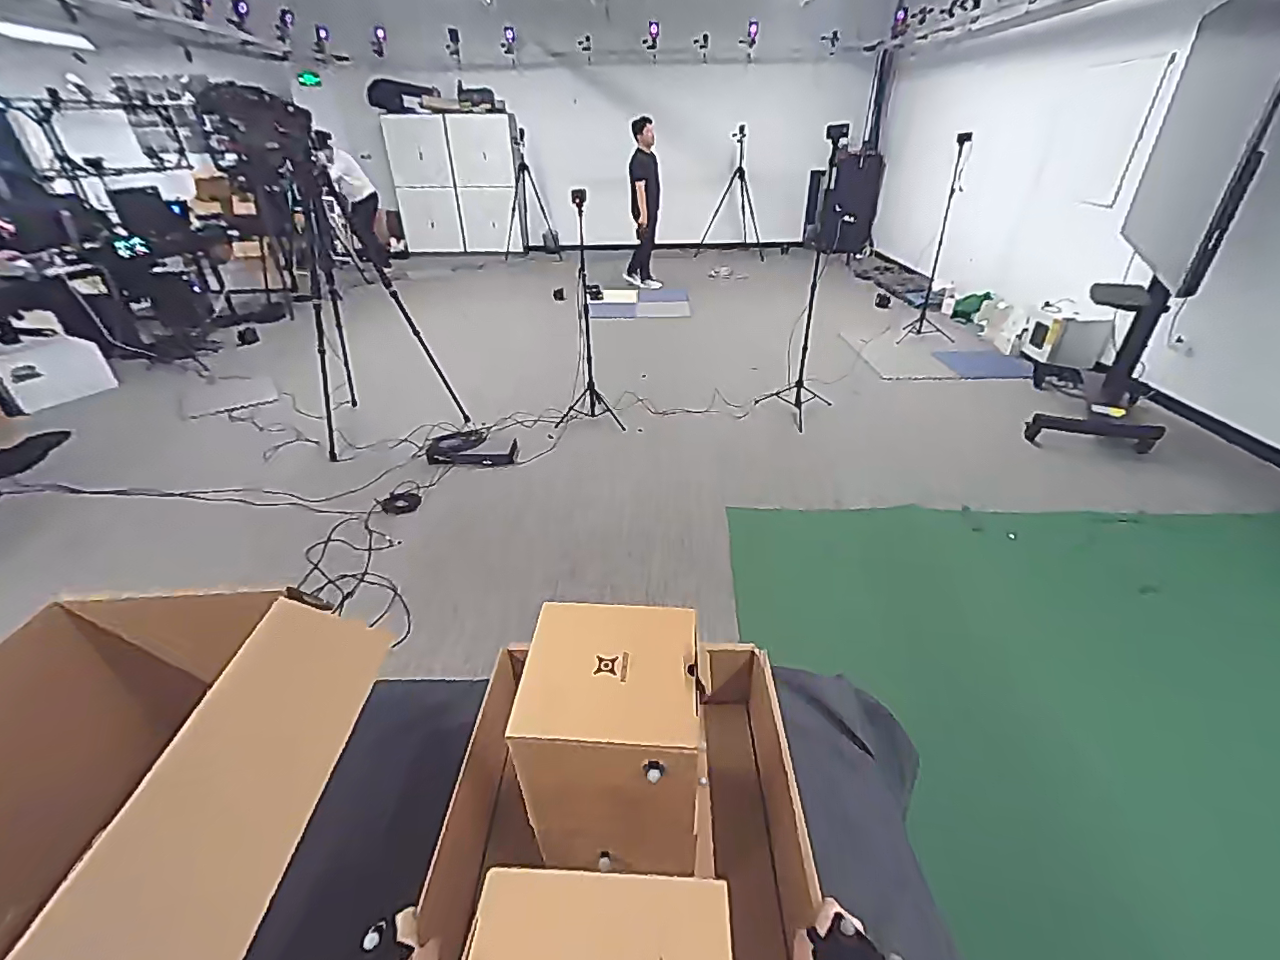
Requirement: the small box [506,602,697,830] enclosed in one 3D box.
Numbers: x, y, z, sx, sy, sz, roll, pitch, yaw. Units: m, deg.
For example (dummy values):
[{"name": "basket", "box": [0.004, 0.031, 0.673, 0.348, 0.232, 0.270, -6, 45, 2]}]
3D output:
[{"name": "small box", "box": [-0.028, 0.254, 0.591, 0.179, 0.176, 0.168, 2, 34, 3]}]
